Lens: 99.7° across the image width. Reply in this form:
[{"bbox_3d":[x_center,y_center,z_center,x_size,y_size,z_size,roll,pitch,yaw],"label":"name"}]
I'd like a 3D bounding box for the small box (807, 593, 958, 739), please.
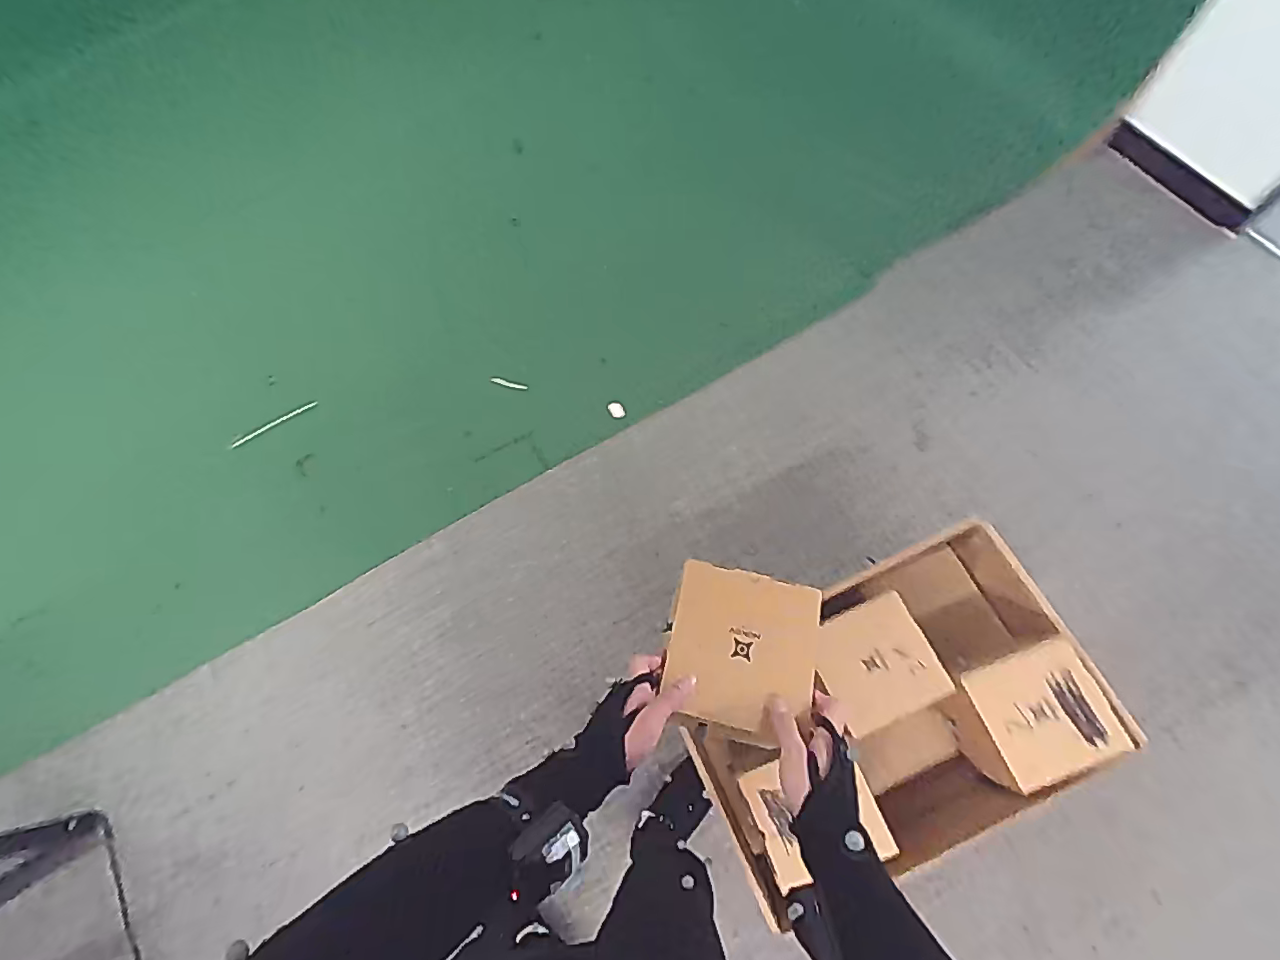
[{"bbox_3d":[0.374,0.305,0.898,0.179,0.176,0.168,-25,71,0],"label":"small box"}]

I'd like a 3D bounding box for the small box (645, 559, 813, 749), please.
[{"bbox_3d":[0.104,0.223,0.672,0.168,0.176,0.179,12,62,5],"label":"small box"}]
